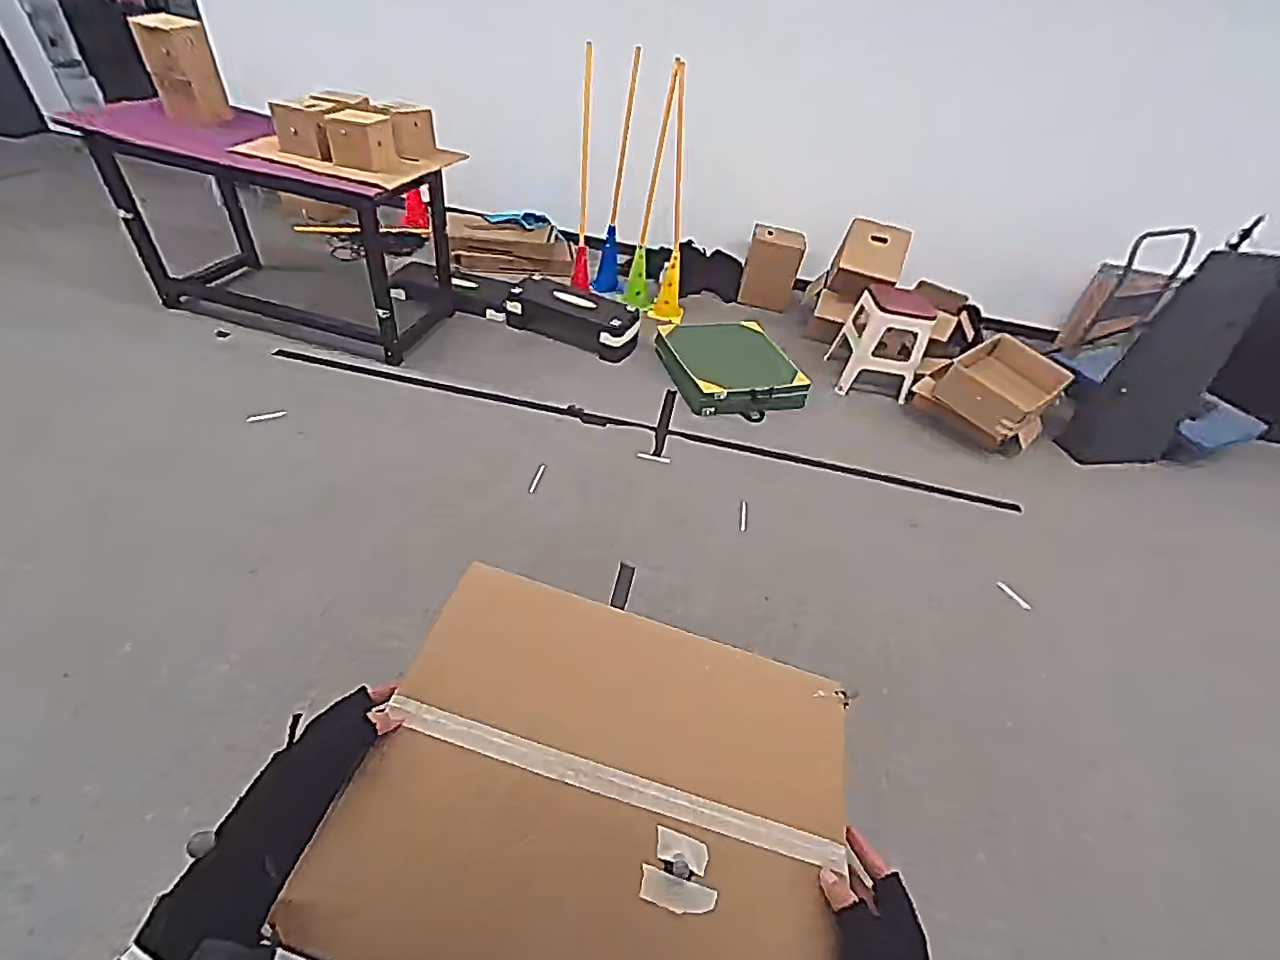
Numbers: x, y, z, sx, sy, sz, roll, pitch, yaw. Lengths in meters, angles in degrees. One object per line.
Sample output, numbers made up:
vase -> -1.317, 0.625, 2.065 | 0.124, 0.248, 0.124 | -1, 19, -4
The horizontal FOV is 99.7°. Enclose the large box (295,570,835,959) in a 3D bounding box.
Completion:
large box -> -0.050, 0.354, 0.583 | 0.408, 0.320, 0.320 | 18, 48, 1
